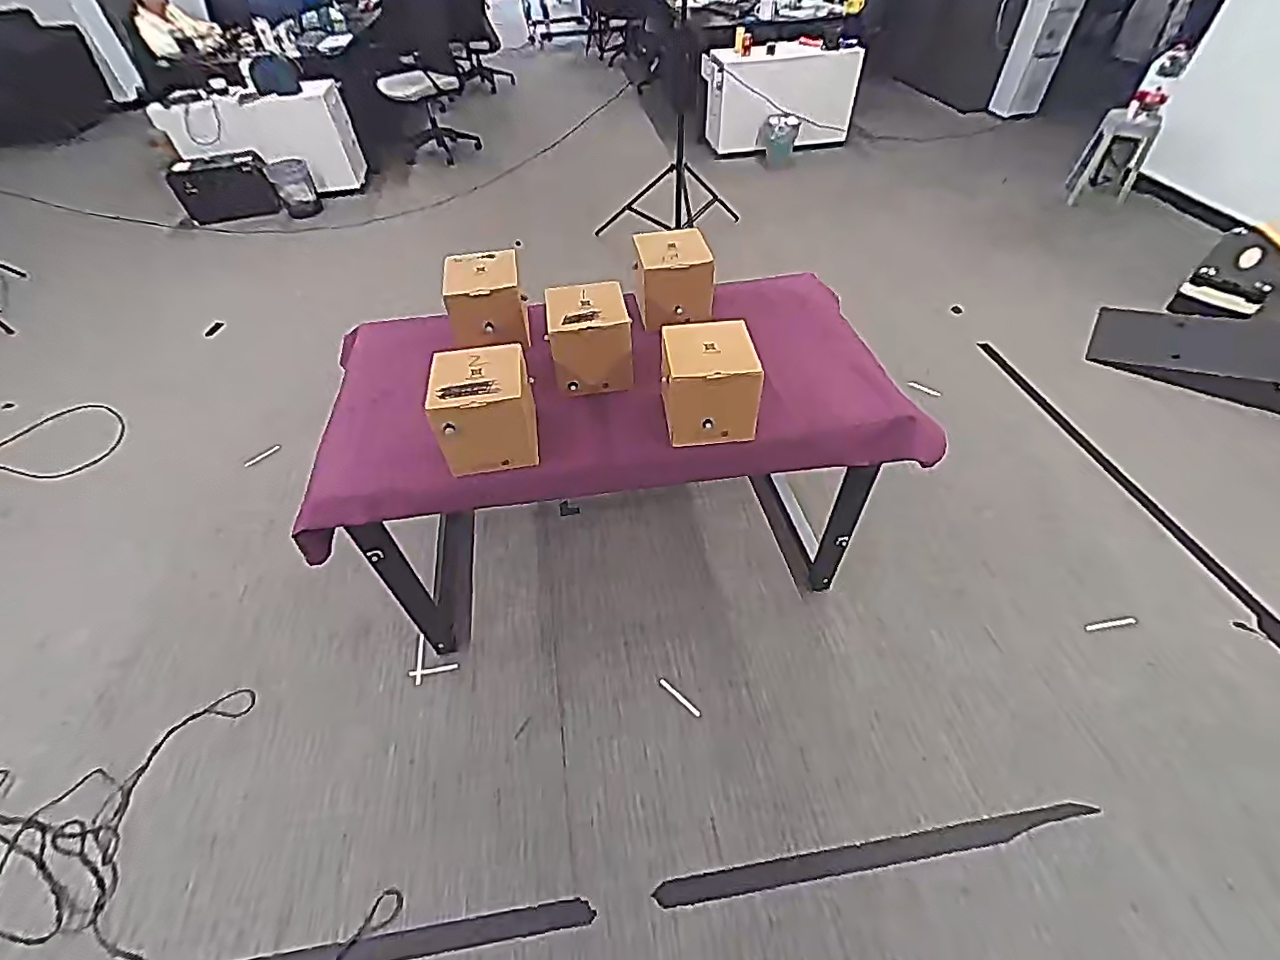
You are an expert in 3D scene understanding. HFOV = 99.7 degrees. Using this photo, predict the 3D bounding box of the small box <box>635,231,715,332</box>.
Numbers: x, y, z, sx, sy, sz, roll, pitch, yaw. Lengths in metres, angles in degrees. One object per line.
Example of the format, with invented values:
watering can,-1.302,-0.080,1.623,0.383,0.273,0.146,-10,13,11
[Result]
small box,0.082,-0.492,1.343,0.168,0.176,0.179,-9,50,-4

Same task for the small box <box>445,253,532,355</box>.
small box,-0.358,-0.416,1.297,0.168,0.176,0.179,-9,51,-6

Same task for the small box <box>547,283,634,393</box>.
small box,-0.108,-0.306,1.190,0.168,0.176,0.179,-8,48,-4

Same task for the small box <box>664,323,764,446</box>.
small box,0.137,-0.189,1.074,0.168,0.176,0.179,-5,47,-2
